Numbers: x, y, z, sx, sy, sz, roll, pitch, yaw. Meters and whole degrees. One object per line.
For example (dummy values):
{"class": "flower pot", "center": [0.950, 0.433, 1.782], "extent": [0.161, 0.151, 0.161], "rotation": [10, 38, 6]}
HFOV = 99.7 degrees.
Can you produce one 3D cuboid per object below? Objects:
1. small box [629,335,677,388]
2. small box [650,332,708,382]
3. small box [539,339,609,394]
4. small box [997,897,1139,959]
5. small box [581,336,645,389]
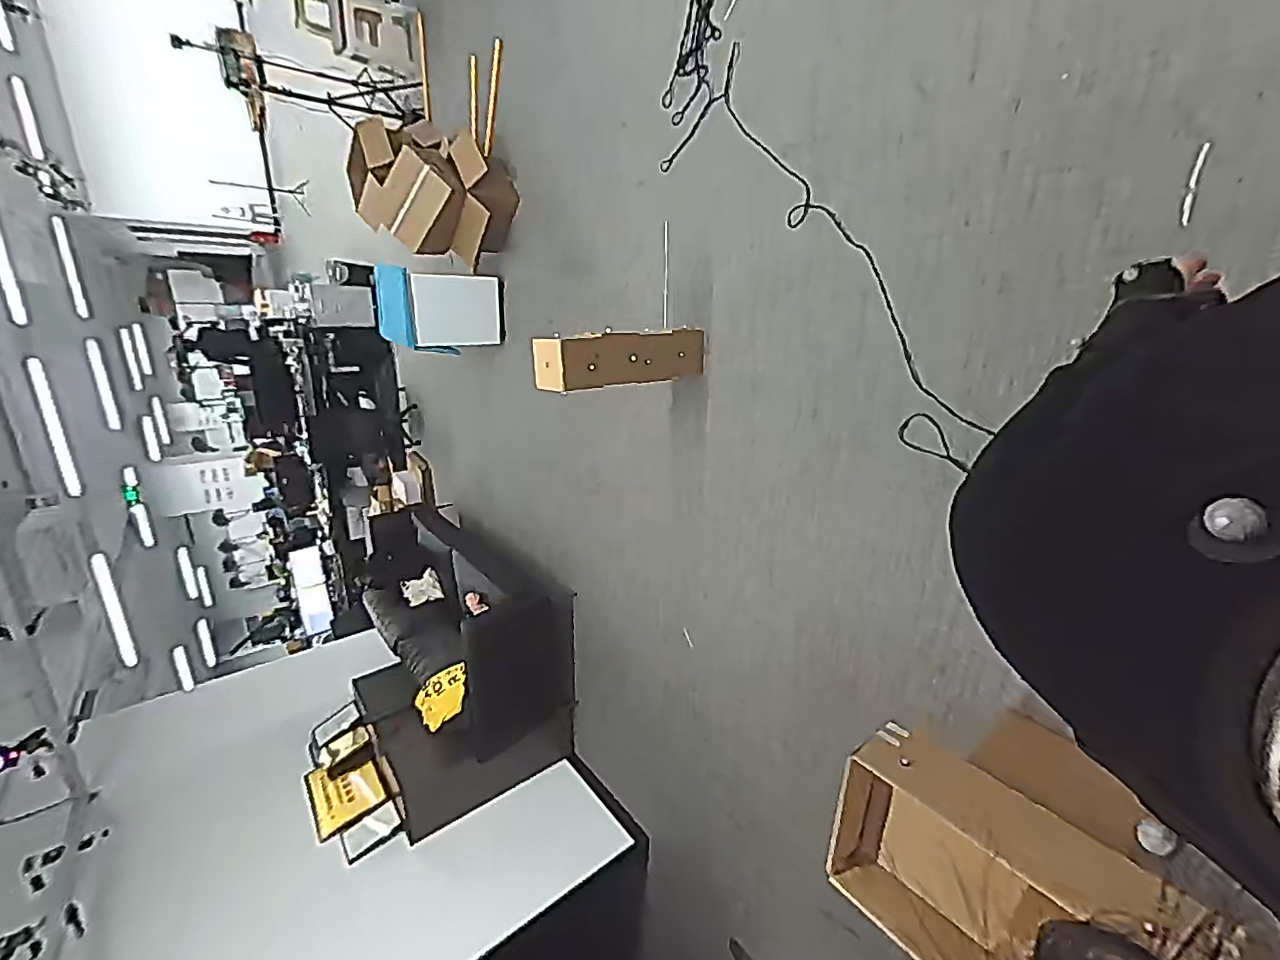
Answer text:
{"class": "small box", "center": [0.024, -0.449, 2.029], "extent": [0.168, 0.176, 0.179], "rotation": [20, 116, 48]}
{"class": "small box", "center": [0.154, -0.487, 2.123], "extent": [0.168, 0.176, 0.179], "rotation": [20, 115, 49]}
{"class": "small box", "center": [-0.222, -0.386, 1.823], "extent": [0.179, 0.176, 0.168], "rotation": [16, 114, 48]}
{"class": "small box", "center": [0.769, 0.909, 0.978], "extent": [0.179, 0.176, 0.168], "rotation": [25, 119, 48]}
{"class": "small box", "center": [-0.095, -0.421, 1.920], "extent": [0.168, 0.176, 0.179], "rotation": [17, 113, 50]}
